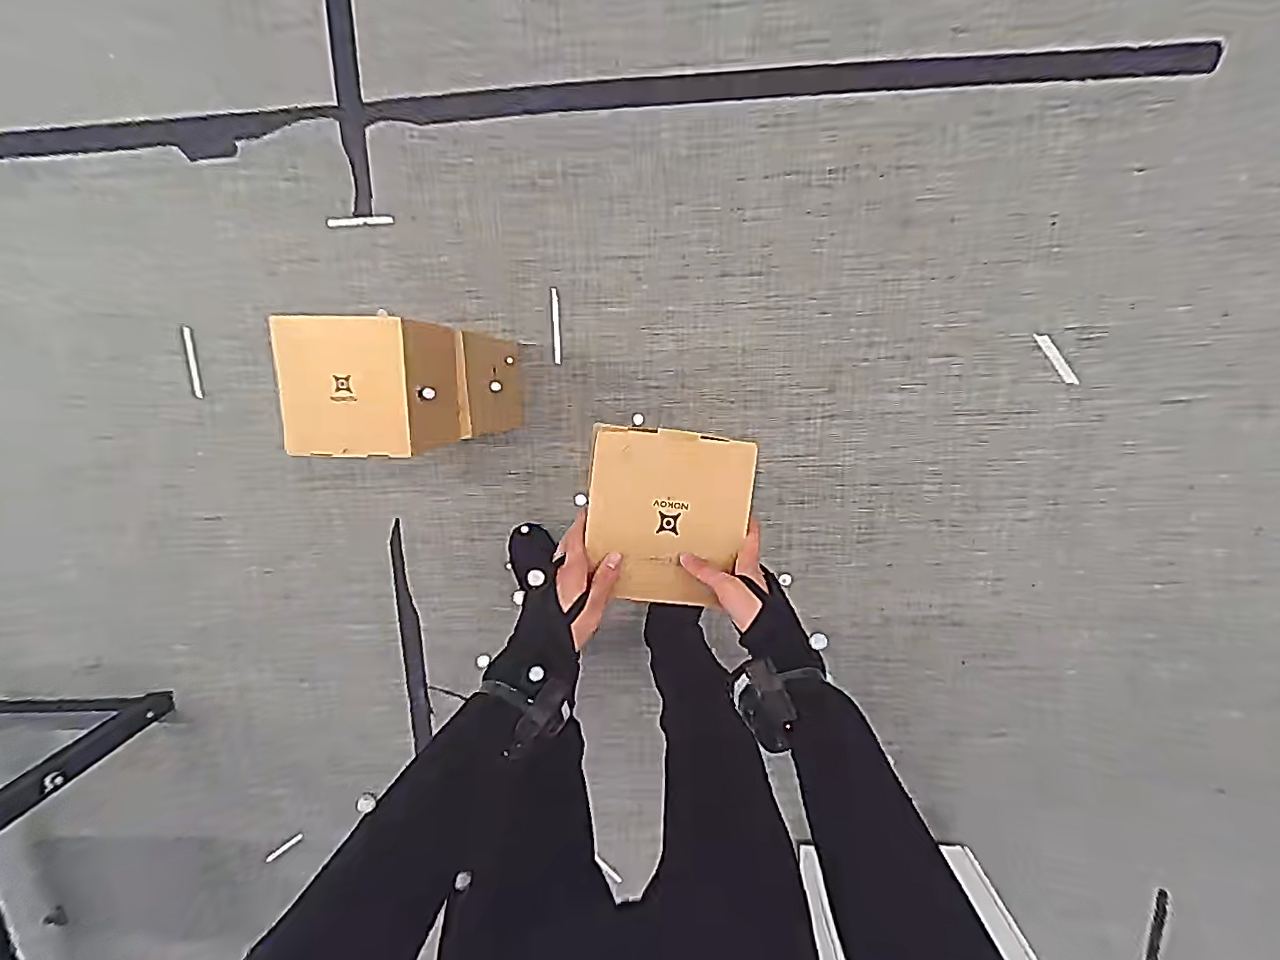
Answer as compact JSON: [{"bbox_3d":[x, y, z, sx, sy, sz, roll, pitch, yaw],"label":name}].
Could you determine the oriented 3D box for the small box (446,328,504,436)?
[{"bbox_3d":[-0.341,-0.162,0.904,0.179,0.176,0.168,-1,102,2],"label":"small box"}]

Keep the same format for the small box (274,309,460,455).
[{"bbox_3d":[-0.359,-0.135,0.744,0.168,0.176,0.179,1,103,2],"label":"small box"}]

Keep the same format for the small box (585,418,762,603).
[{"bbox_3d":[0.027,0.026,0.624,0.168,0.176,0.179,6,95,-5],"label":"small box"}]
